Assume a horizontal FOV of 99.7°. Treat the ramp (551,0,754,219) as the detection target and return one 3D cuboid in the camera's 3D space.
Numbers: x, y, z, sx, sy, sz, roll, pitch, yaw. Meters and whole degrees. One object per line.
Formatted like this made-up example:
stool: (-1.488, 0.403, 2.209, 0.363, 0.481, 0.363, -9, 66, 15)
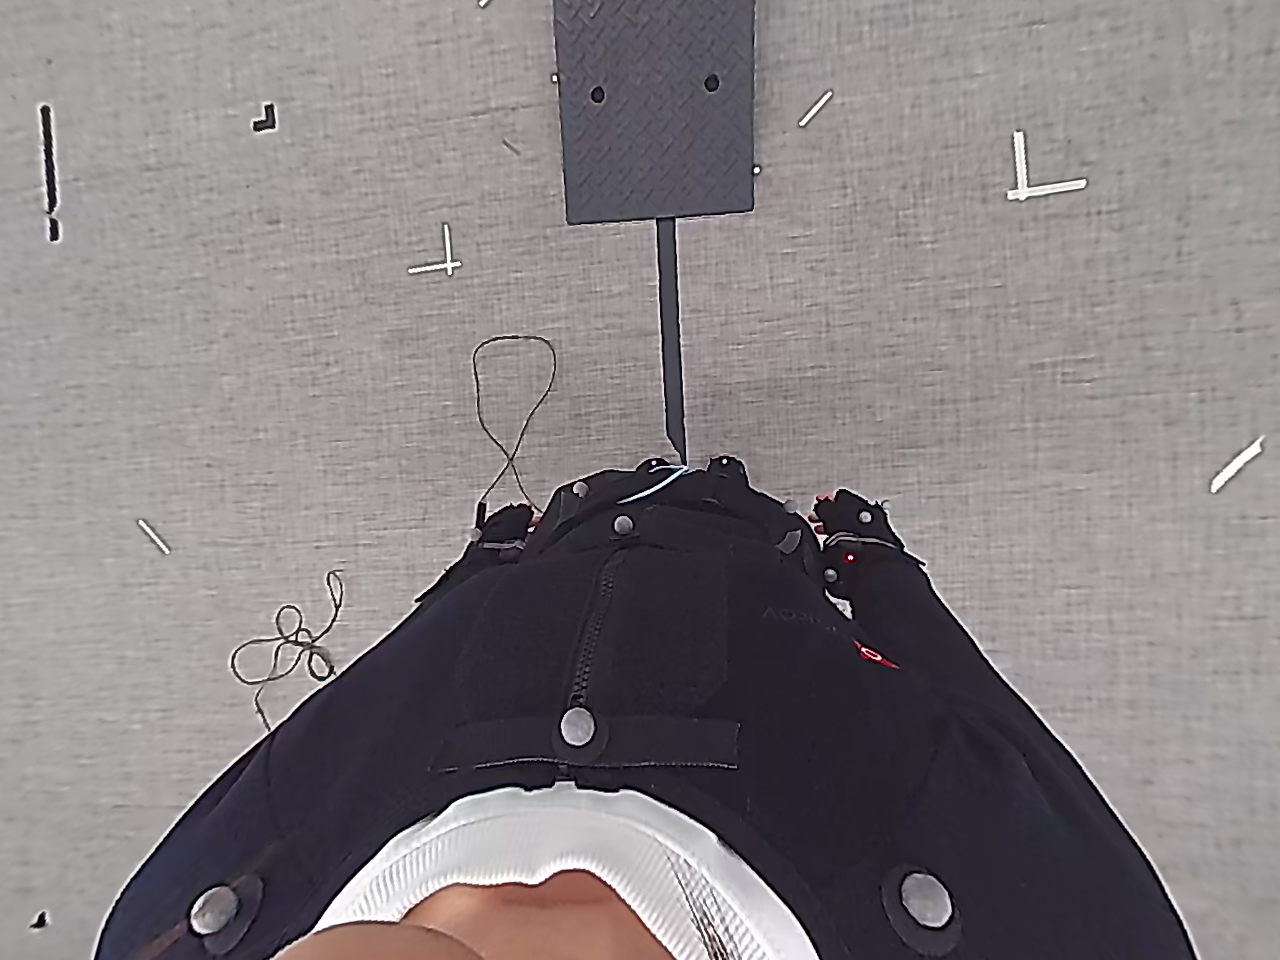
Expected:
ramp: (0.025, -1.182, 1.296, 0.509, 0.206, 0.991, -3, 93, 6)
